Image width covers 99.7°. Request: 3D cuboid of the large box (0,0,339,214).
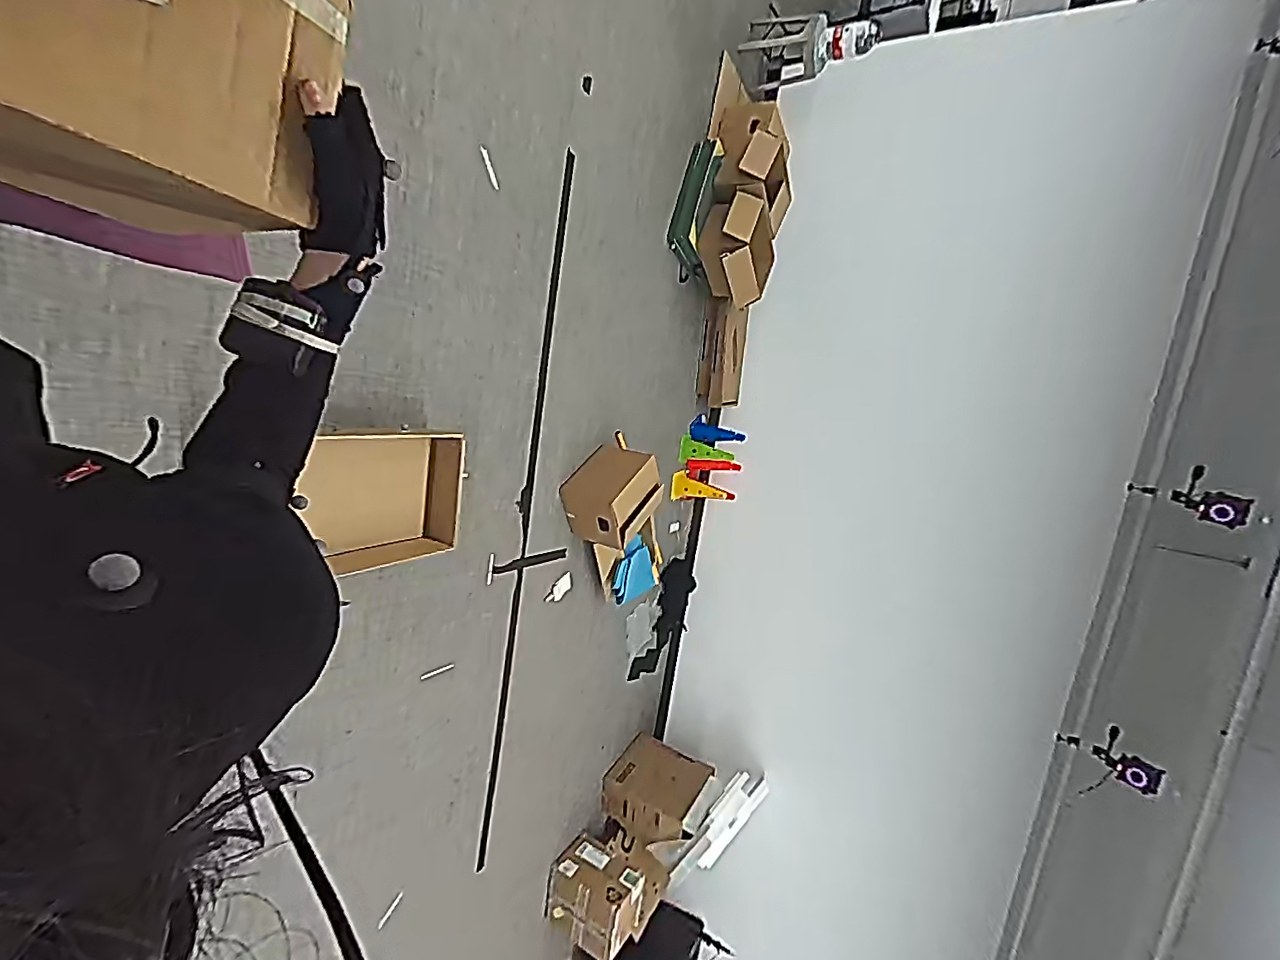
[{"bbox_3d":[-0.462,-0.396,0.320,0.408,0.320,0.320,2,103,-61],"label":"large box"}]
